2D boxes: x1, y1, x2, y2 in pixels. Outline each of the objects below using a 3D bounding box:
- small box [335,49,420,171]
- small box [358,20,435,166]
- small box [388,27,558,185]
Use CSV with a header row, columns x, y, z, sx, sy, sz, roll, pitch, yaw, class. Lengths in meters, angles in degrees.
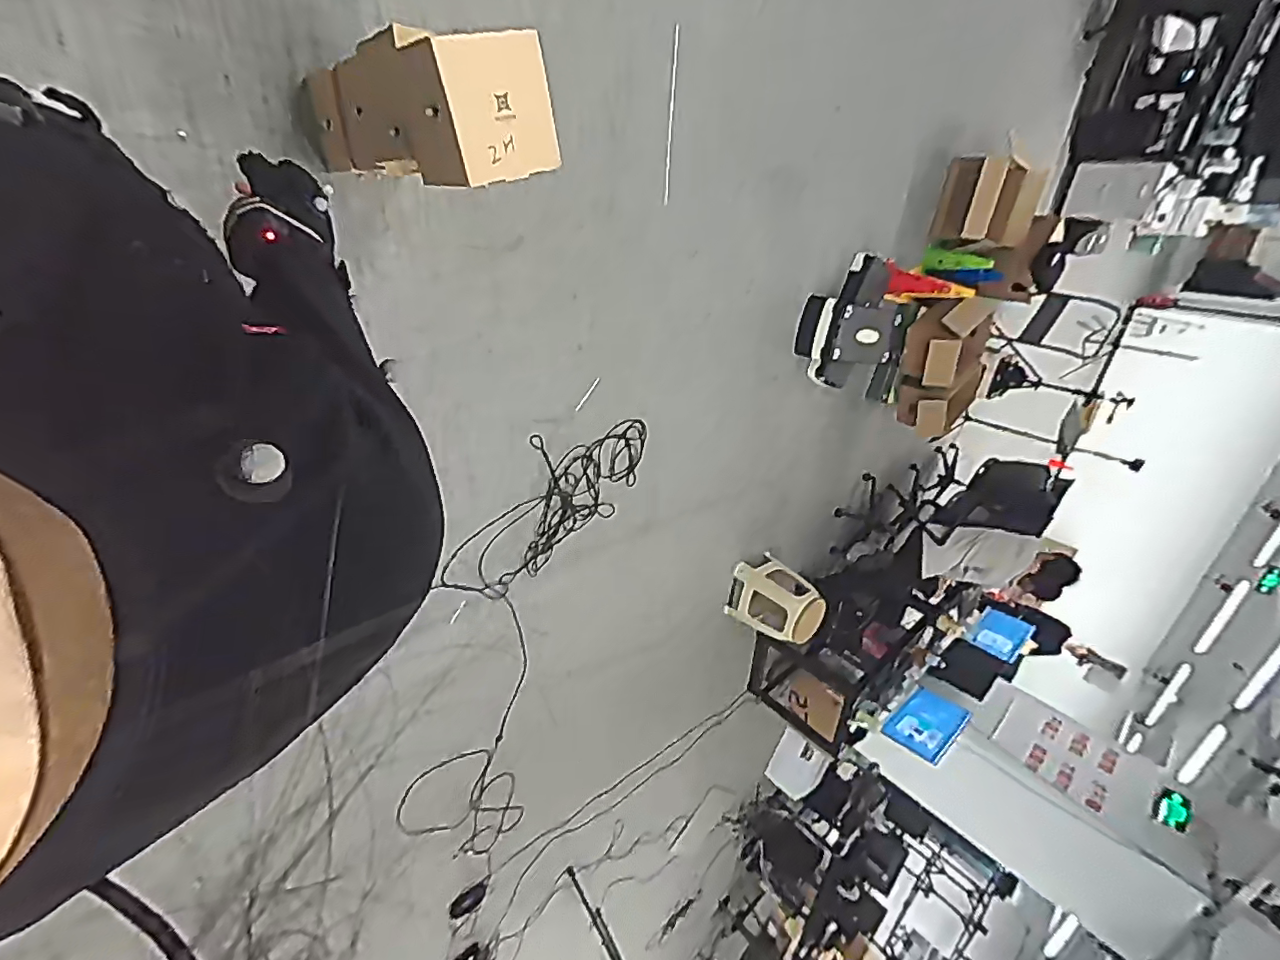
x,y,z,sx,sy,sz,roll,pitch,yaw,class
-0.456,-0.694,1.033,0.168,0.176,0.179,-22,125,-36,small box
-0.358,-0.636,0.916,0.168,0.176,0.179,-19,125,-37,small box
-0.251,-0.557,0.818,0.168,0.176,0.179,-31,132,-29,small box
